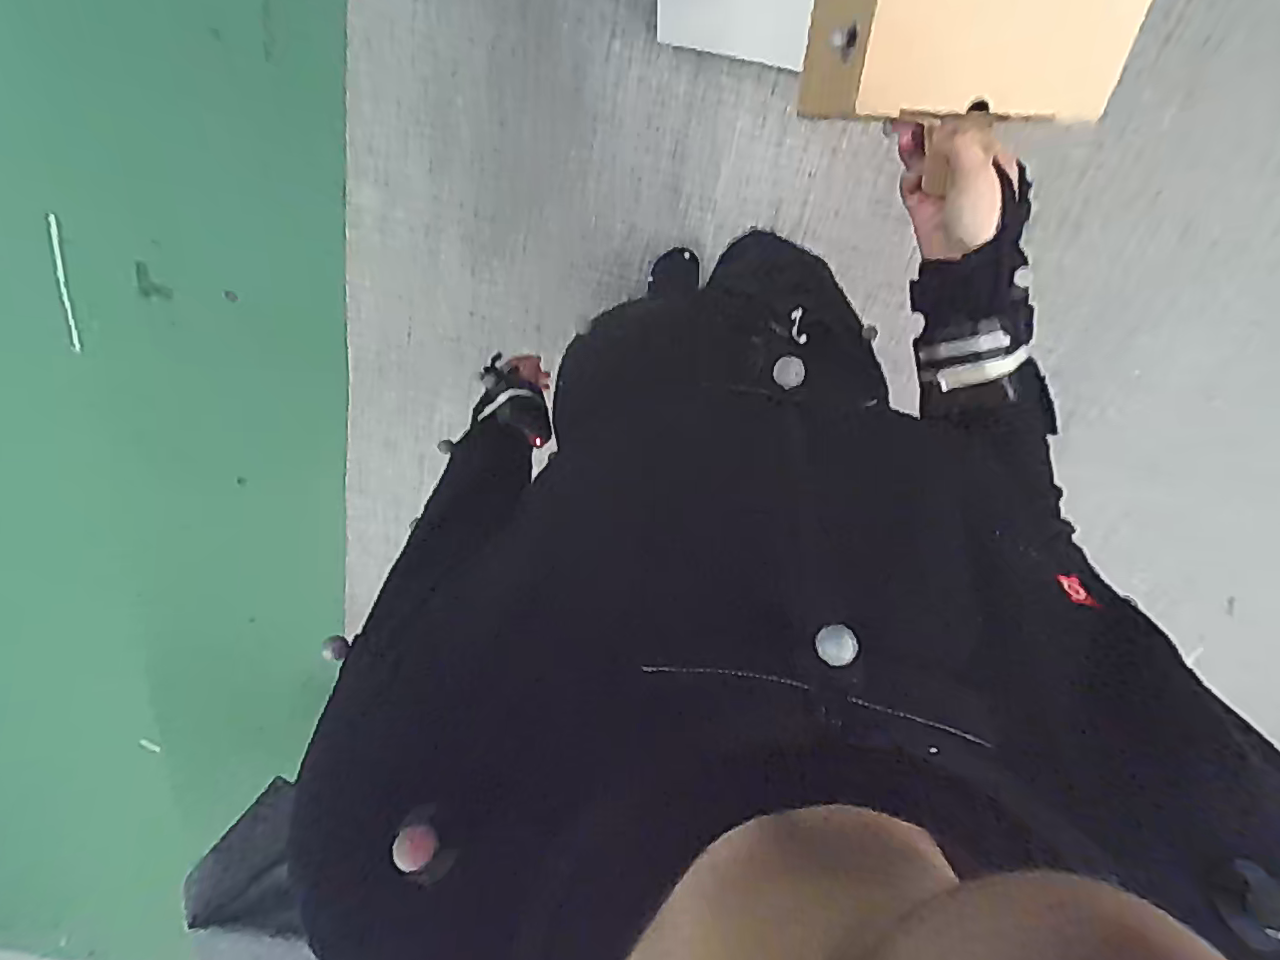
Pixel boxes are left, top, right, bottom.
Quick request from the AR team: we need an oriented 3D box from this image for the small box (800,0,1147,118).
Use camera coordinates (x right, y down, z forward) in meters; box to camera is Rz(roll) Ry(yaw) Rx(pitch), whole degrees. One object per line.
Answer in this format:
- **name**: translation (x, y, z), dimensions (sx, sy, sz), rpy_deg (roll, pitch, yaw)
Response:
- **small box**: translation (0.220, -0.356, 0.371), dimensions (0.168, 0.176, 0.179), rpy_deg (1, 124, 0)
